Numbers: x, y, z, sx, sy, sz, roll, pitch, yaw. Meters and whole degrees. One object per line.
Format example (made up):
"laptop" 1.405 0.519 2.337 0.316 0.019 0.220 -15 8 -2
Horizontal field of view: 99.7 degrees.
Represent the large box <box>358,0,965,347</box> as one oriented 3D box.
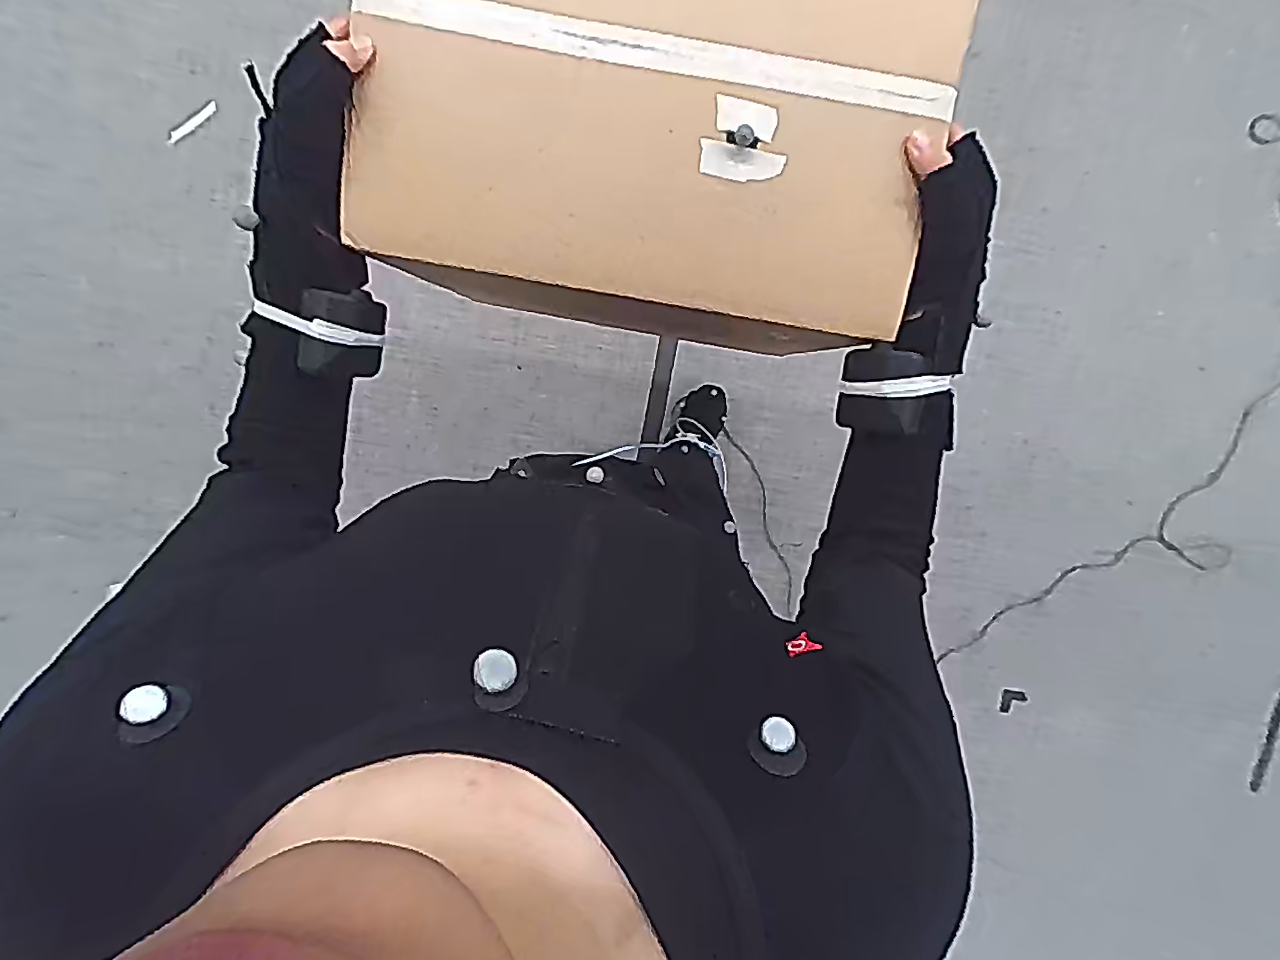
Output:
"large box" 0.010 -0.318 0.517 0.408 0.320 0.320 9 102 -3
